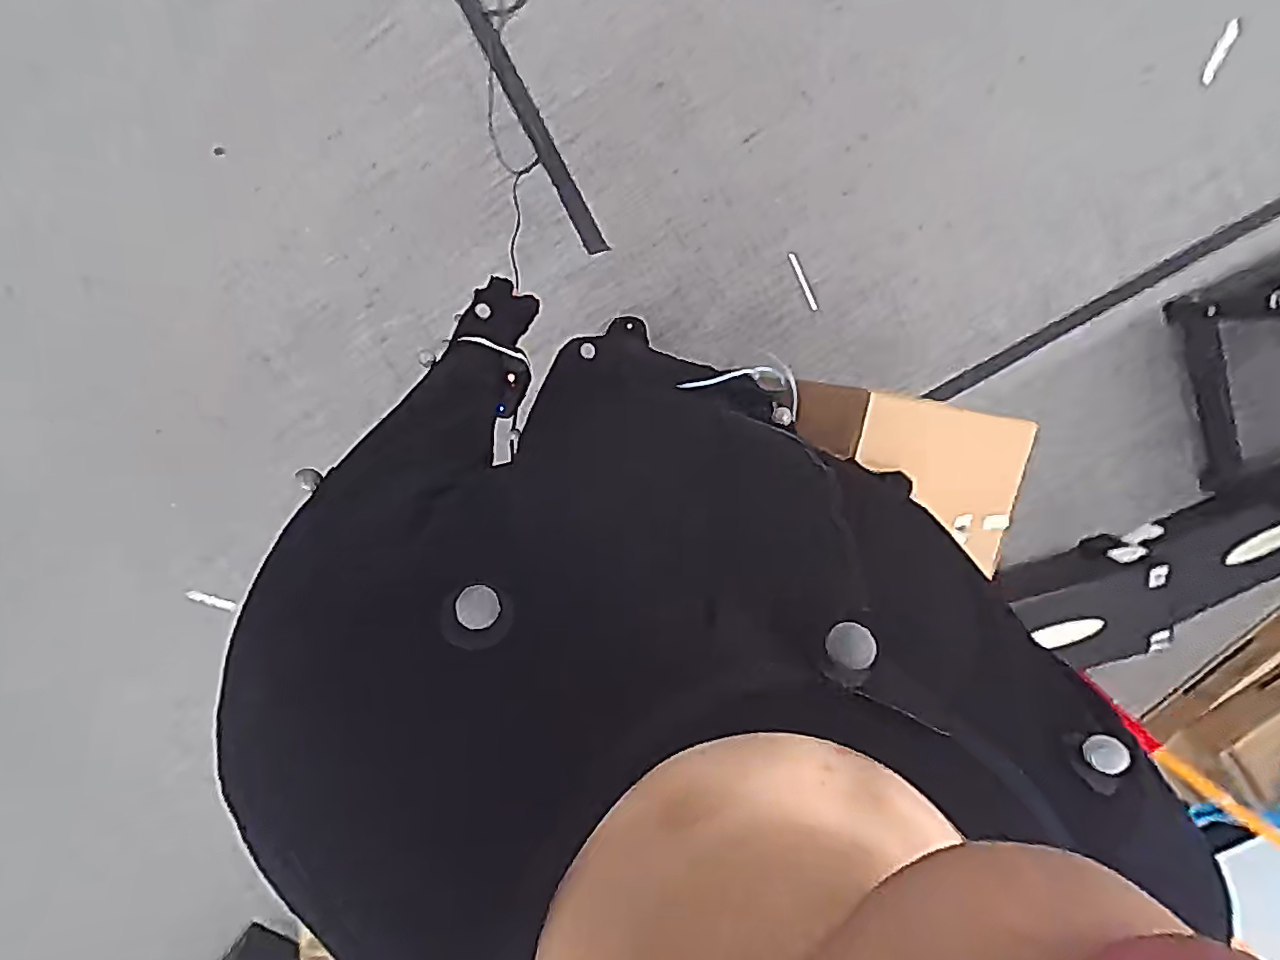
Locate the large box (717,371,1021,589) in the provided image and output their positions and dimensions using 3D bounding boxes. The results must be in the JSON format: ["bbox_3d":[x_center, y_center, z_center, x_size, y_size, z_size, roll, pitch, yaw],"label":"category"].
[{"bbox_3d":[0.379,-0.019,0.999,0.320,0.408,0.320,6,103,-15],"label":"large box"}]
